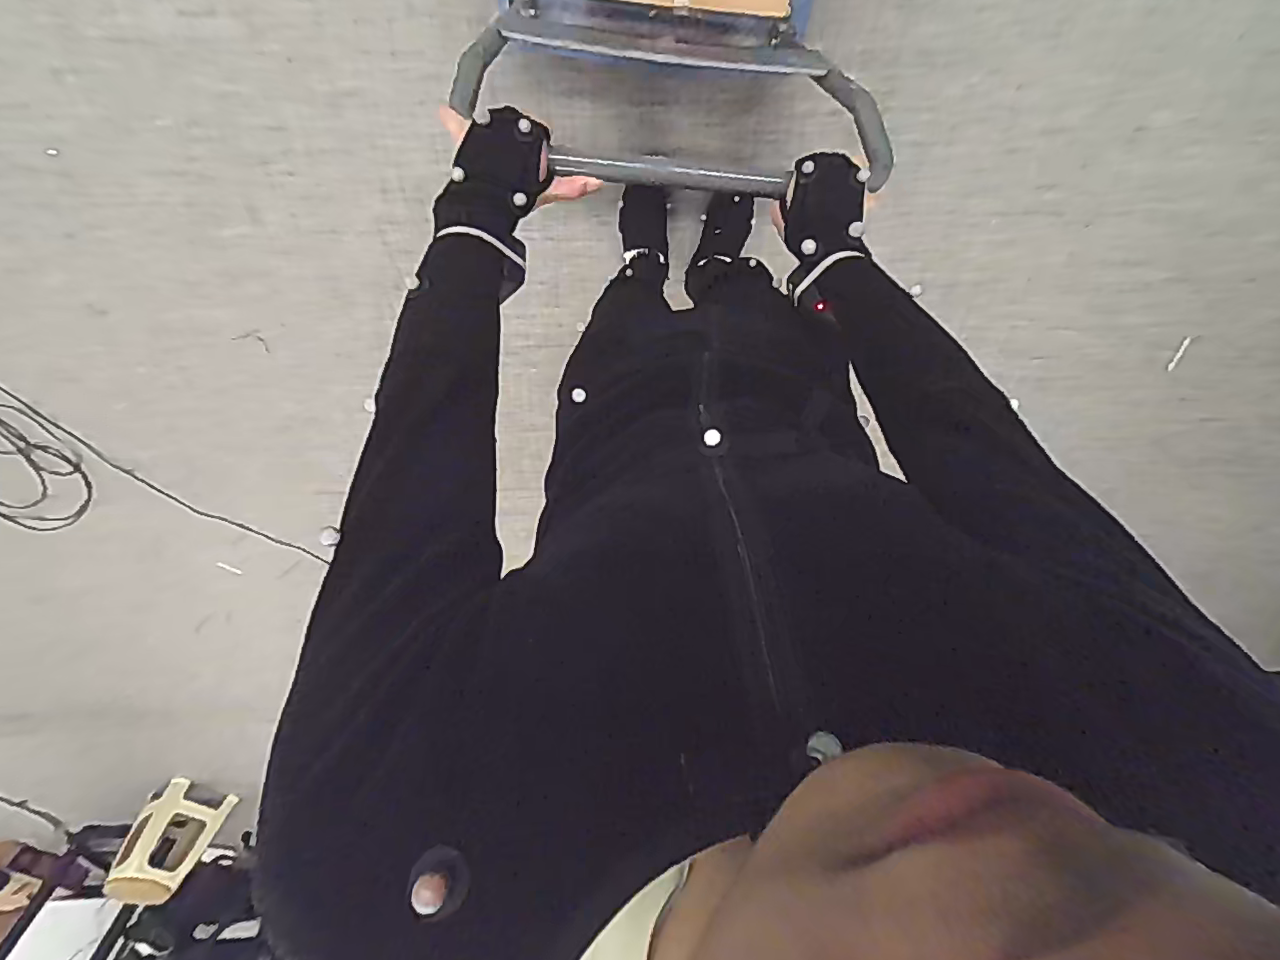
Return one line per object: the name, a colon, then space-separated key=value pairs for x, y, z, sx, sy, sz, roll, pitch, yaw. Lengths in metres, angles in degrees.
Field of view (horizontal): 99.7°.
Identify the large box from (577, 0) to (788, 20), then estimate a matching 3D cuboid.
large box: x=0.068 y=-0.918 z=0.754 sx=0.320 sy=0.320 sz=0.408 roll=3 pitch=132 yaw=-5
